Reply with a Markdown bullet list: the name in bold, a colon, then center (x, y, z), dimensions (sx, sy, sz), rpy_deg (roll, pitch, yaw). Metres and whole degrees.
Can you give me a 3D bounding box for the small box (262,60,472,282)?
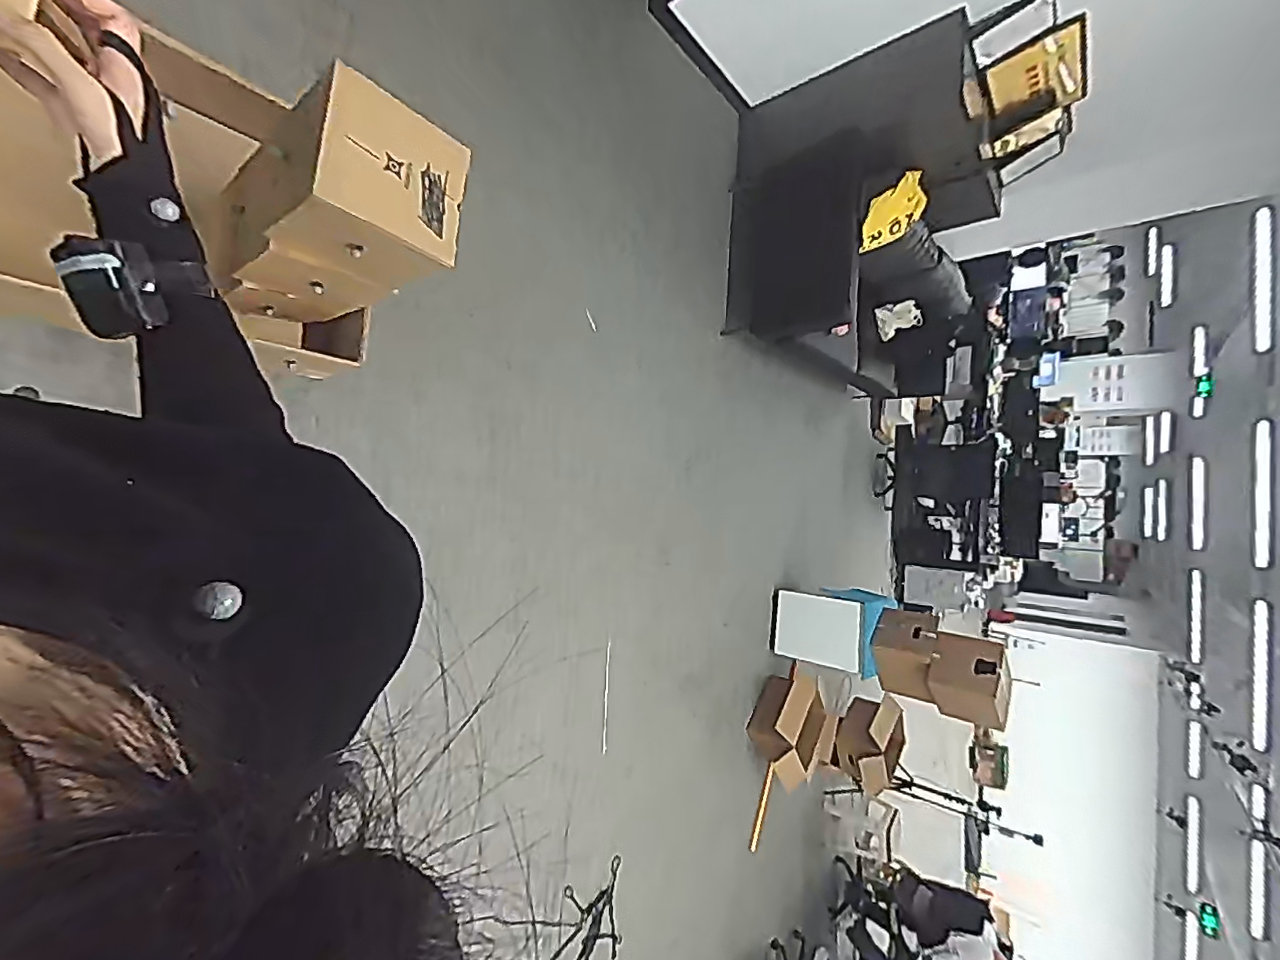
- **small box**: center (-0.351, -0.376, 0.702), dimensions (0.179, 0.176, 0.168), rpy_deg (14, 81, -50)
